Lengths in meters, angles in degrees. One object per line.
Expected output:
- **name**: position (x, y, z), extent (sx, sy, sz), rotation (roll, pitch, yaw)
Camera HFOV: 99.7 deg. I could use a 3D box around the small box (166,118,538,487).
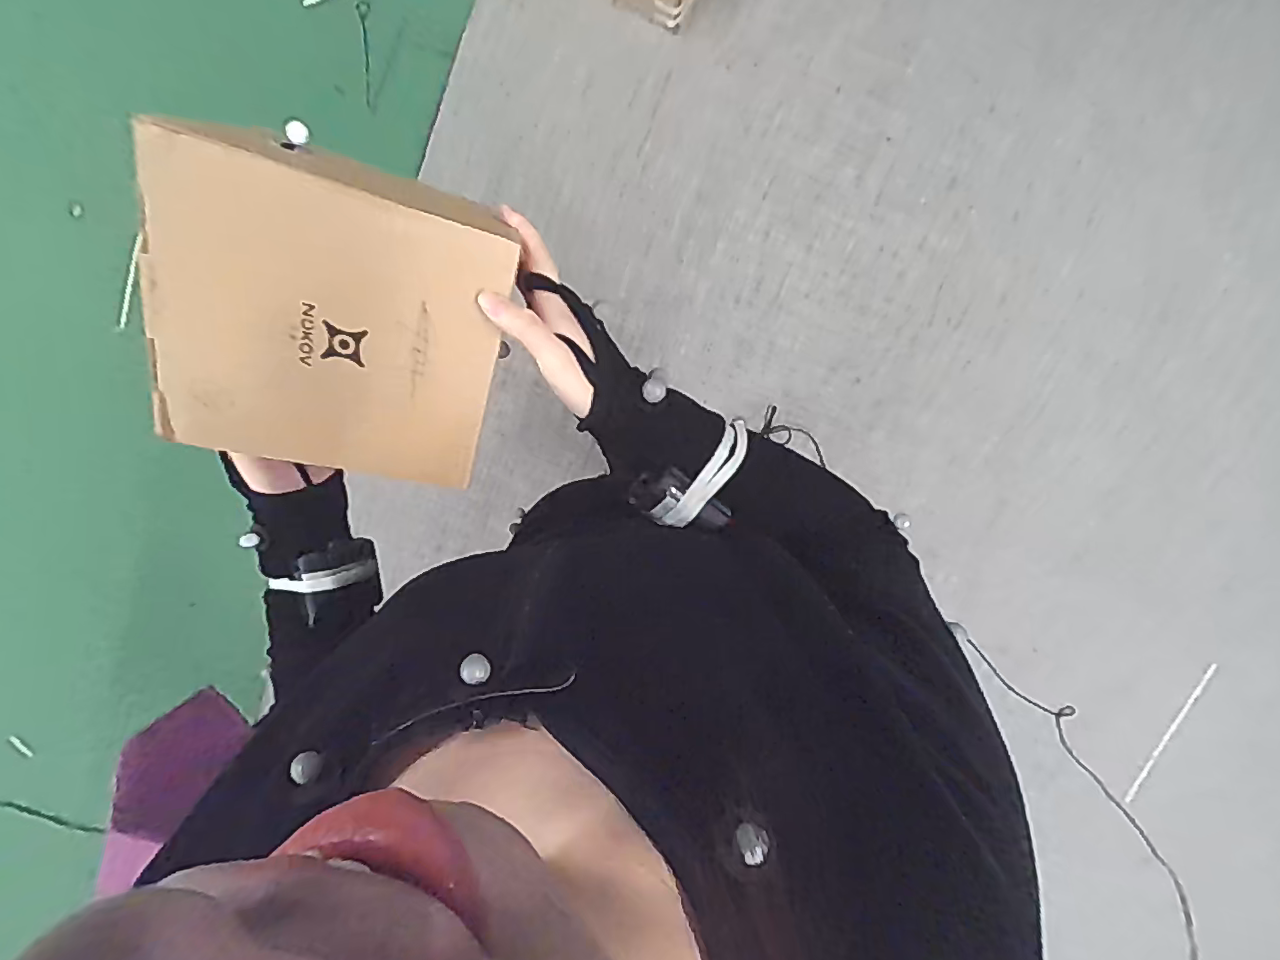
- **small box**: position (-0.184, -0.120, 0.377), extent (0.179, 0.176, 0.168), rotation (12, 117, -23)
